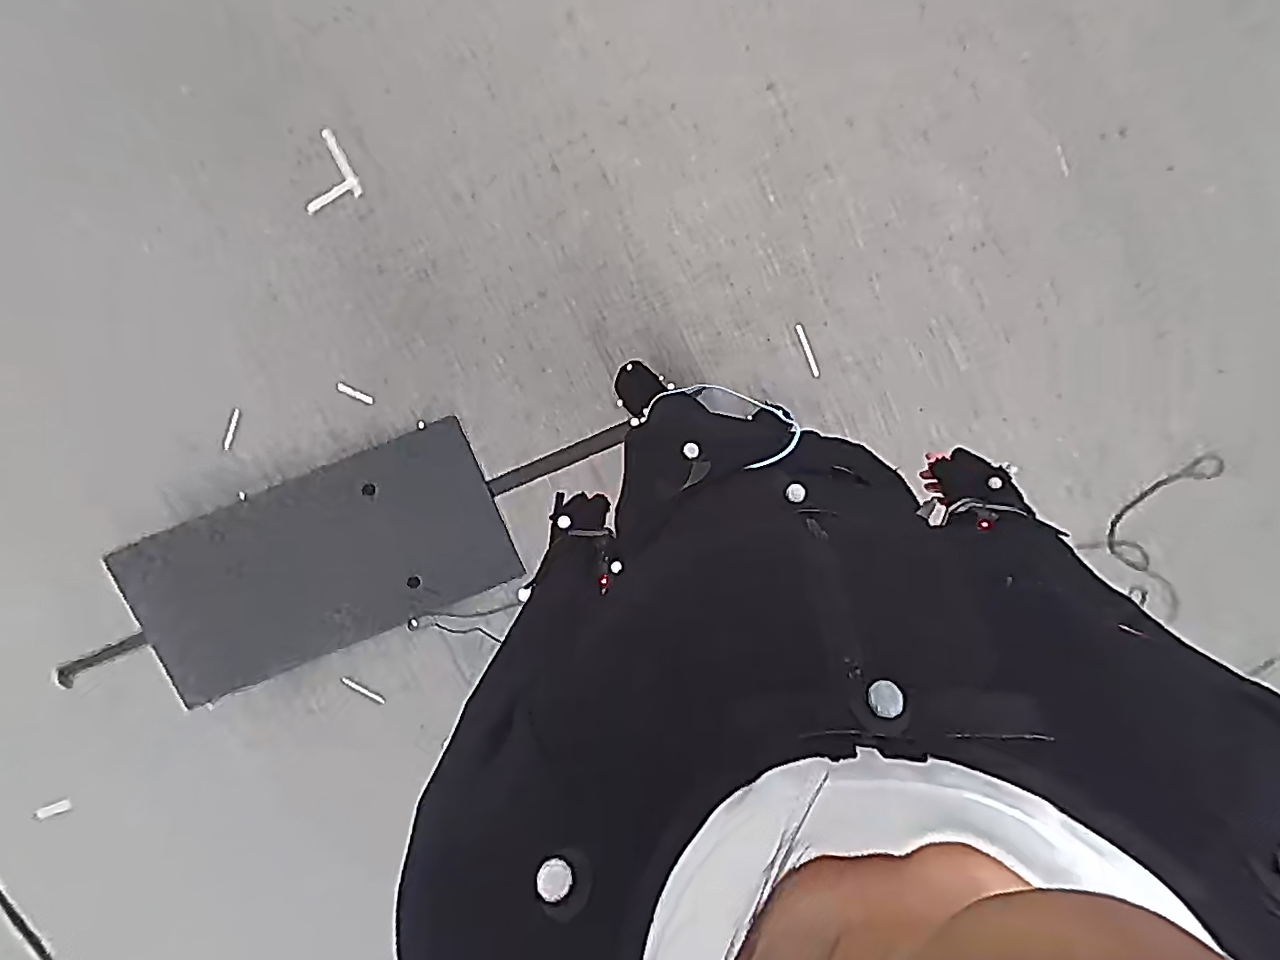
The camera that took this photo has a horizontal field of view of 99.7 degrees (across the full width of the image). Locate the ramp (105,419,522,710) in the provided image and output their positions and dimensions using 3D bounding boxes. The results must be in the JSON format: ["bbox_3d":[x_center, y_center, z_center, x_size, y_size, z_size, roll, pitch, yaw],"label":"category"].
[{"bbox_3d":[-0.882,0.232,1.495,0.991,0.206,0.509,-22,97,8],"label":"ramp"}]
